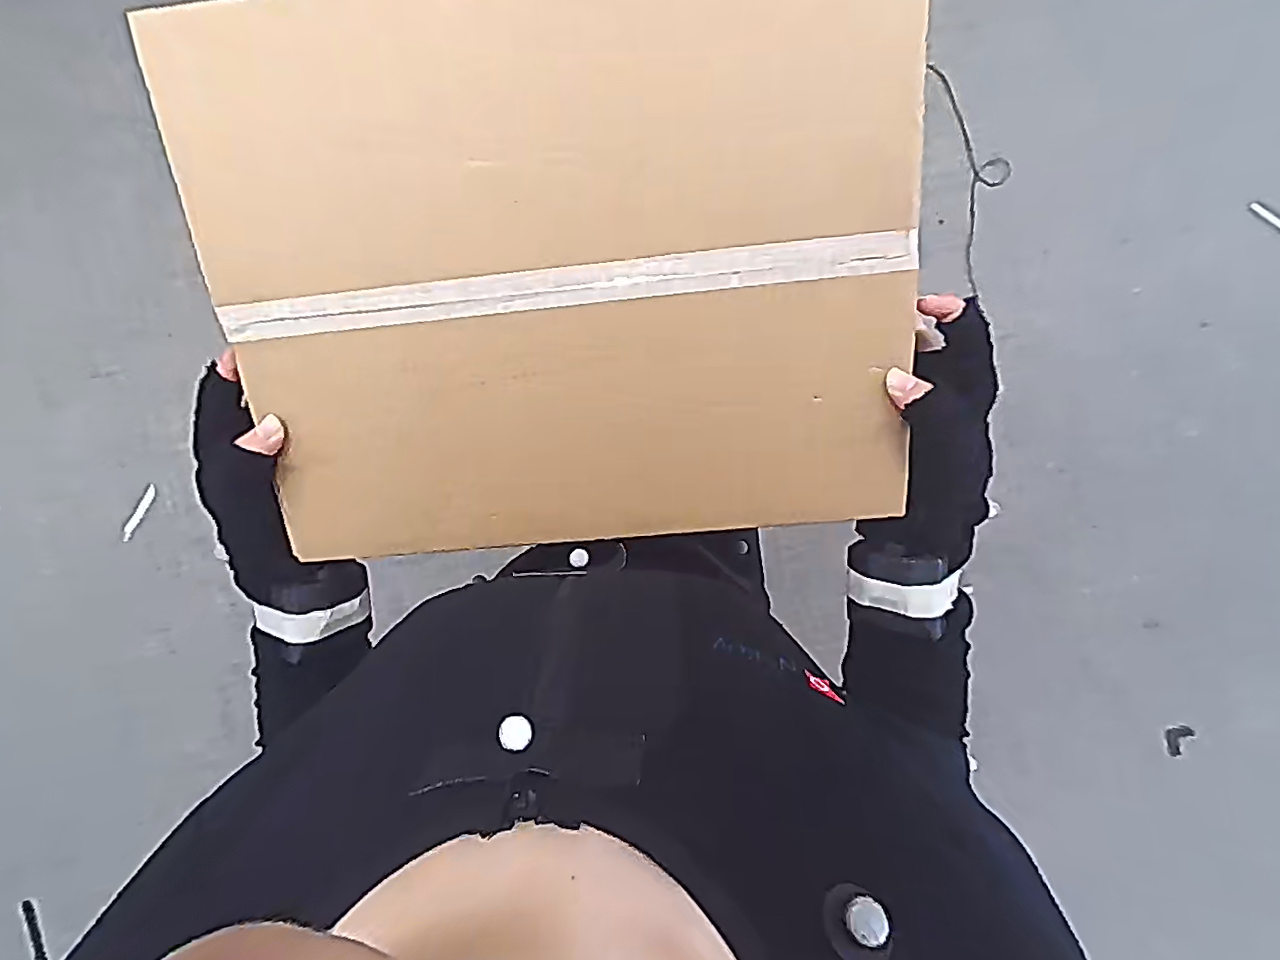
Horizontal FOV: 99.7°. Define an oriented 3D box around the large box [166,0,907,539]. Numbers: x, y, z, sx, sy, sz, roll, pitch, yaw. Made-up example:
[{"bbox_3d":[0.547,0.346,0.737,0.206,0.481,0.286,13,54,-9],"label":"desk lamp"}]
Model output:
[{"bbox_3d":[-0.044,-0.165,0.465,0.408,0.320,0.320,-5,107,3],"label":"large box"}]
